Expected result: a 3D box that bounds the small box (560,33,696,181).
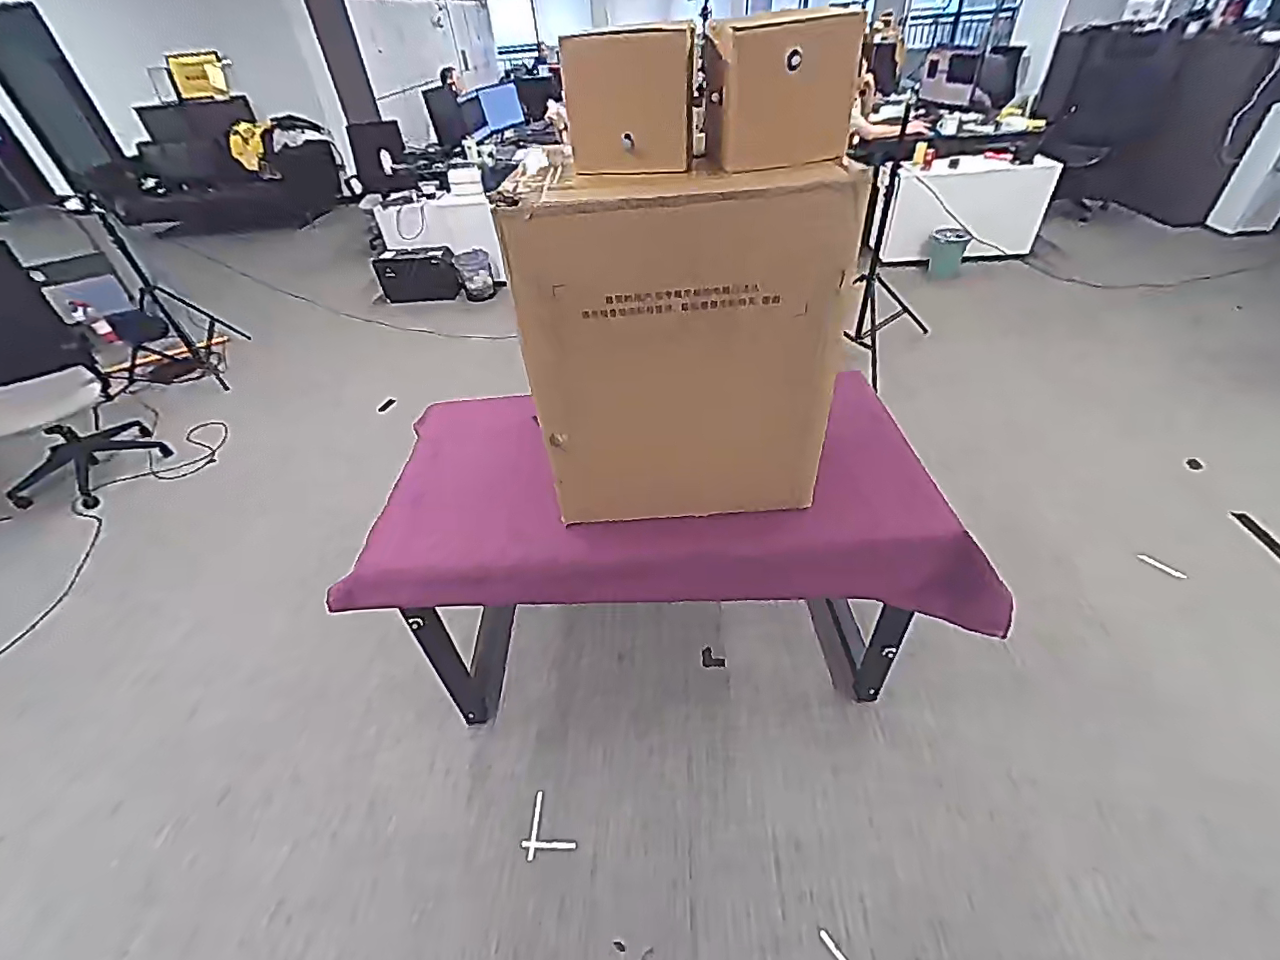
[{"bbox_3d":[-0.009,-0.572,0.832,0.179,0.176,0.168,4,41,8],"label":"small box"}]
